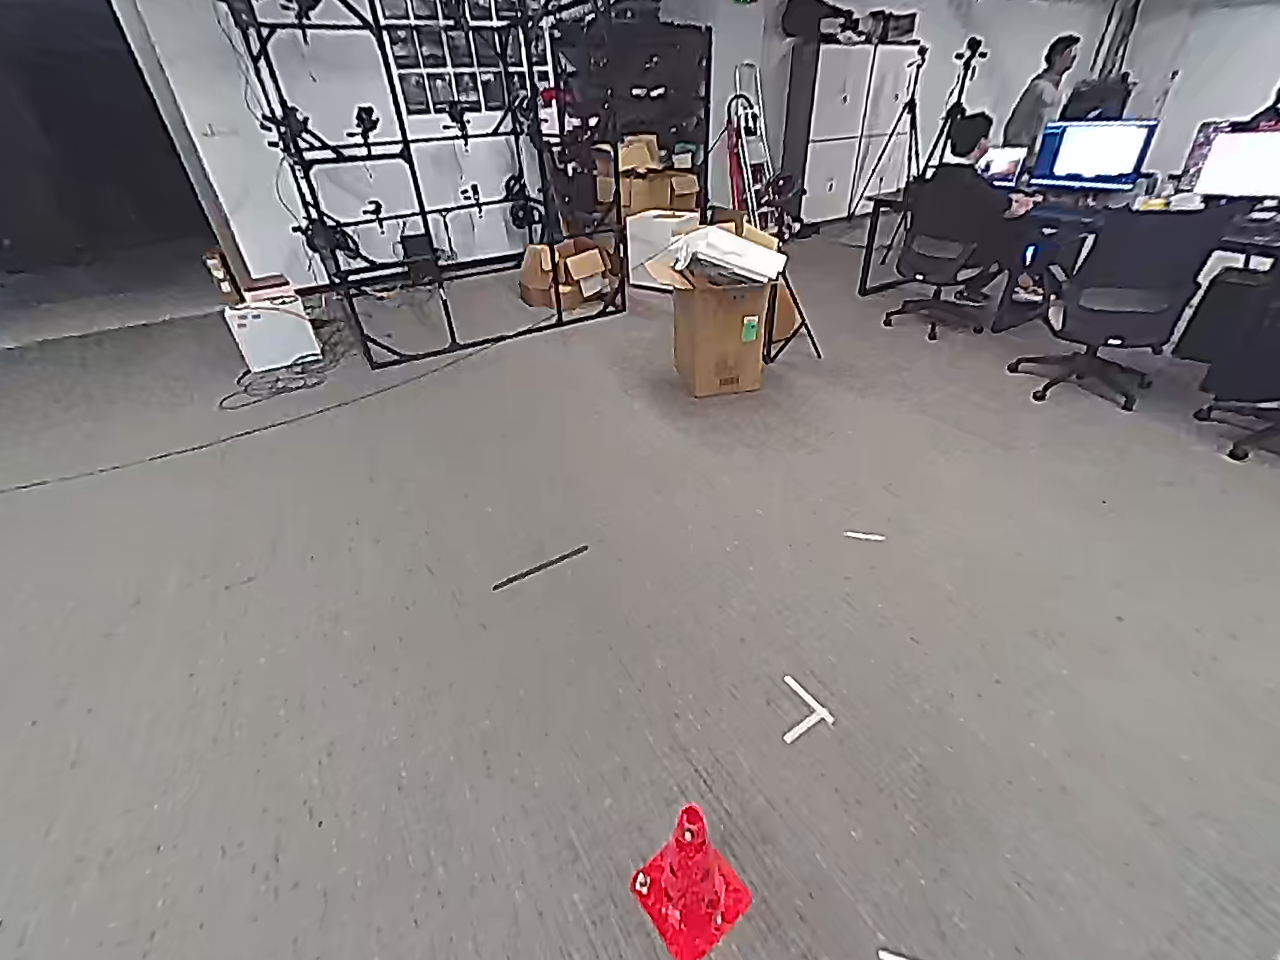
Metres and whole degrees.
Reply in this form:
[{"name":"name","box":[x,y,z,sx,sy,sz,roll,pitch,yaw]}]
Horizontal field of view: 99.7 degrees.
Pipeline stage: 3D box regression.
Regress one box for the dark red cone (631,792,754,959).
[{"name":"dark red cone","box":[0.103,0.722,1.050,0.202,0.394,0.201,-26,42,-30]}]
